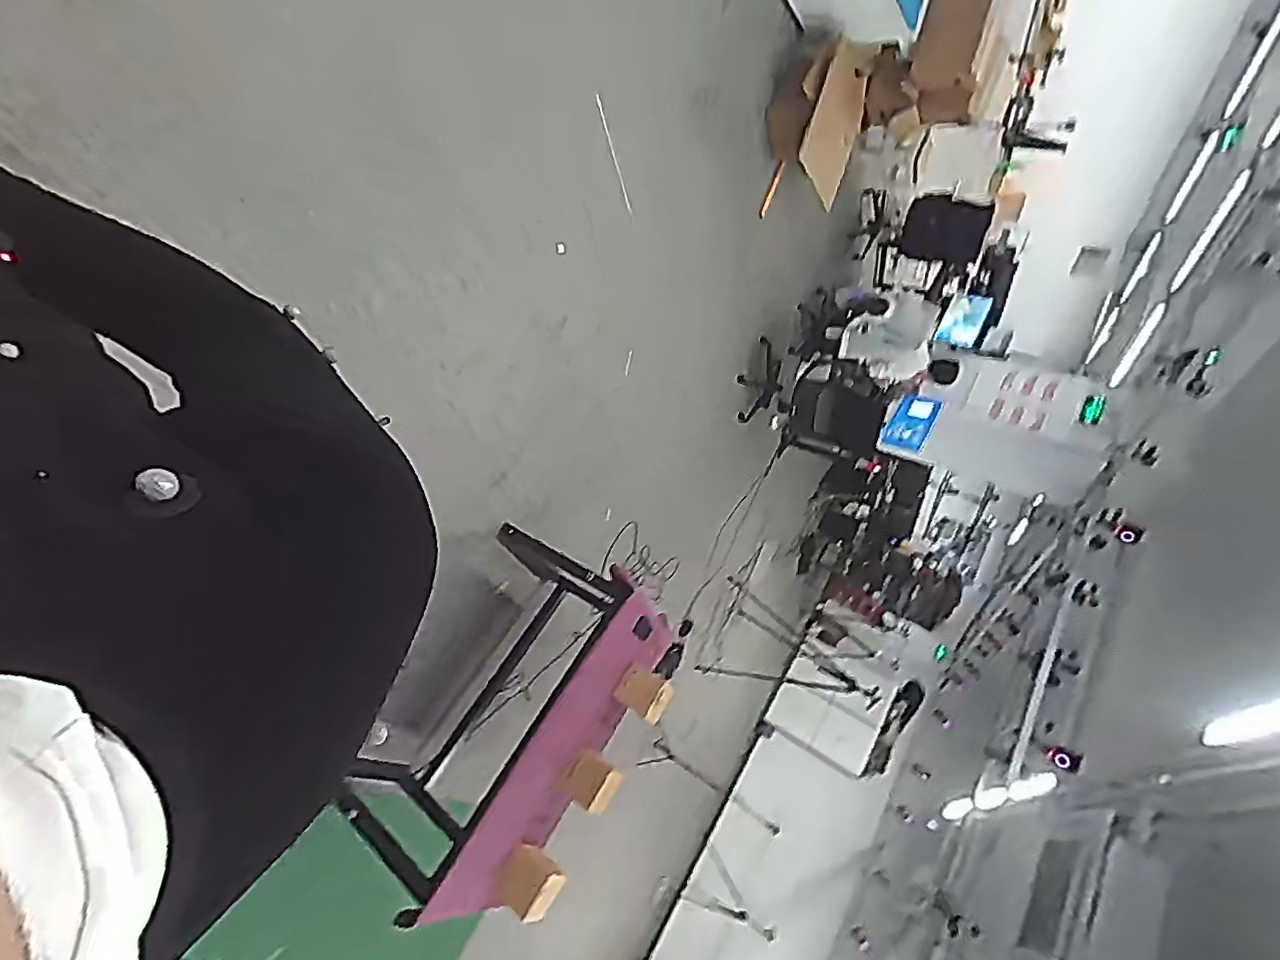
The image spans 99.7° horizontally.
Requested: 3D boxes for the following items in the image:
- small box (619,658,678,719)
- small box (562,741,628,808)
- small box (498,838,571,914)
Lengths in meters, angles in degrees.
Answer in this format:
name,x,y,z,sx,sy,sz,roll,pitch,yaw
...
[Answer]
name,x,y,z,sx,sy,sz,roll,pitch,yaw
small box,0.034,0.872,2.273,0.168,0.176,0.179,-55,149,-19
small box,-0.177,1.167,2.145,0.168,0.176,0.179,-55,148,-21
small box,-0.390,1.464,2.008,0.168,0.176,0.179,-55,149,-22
